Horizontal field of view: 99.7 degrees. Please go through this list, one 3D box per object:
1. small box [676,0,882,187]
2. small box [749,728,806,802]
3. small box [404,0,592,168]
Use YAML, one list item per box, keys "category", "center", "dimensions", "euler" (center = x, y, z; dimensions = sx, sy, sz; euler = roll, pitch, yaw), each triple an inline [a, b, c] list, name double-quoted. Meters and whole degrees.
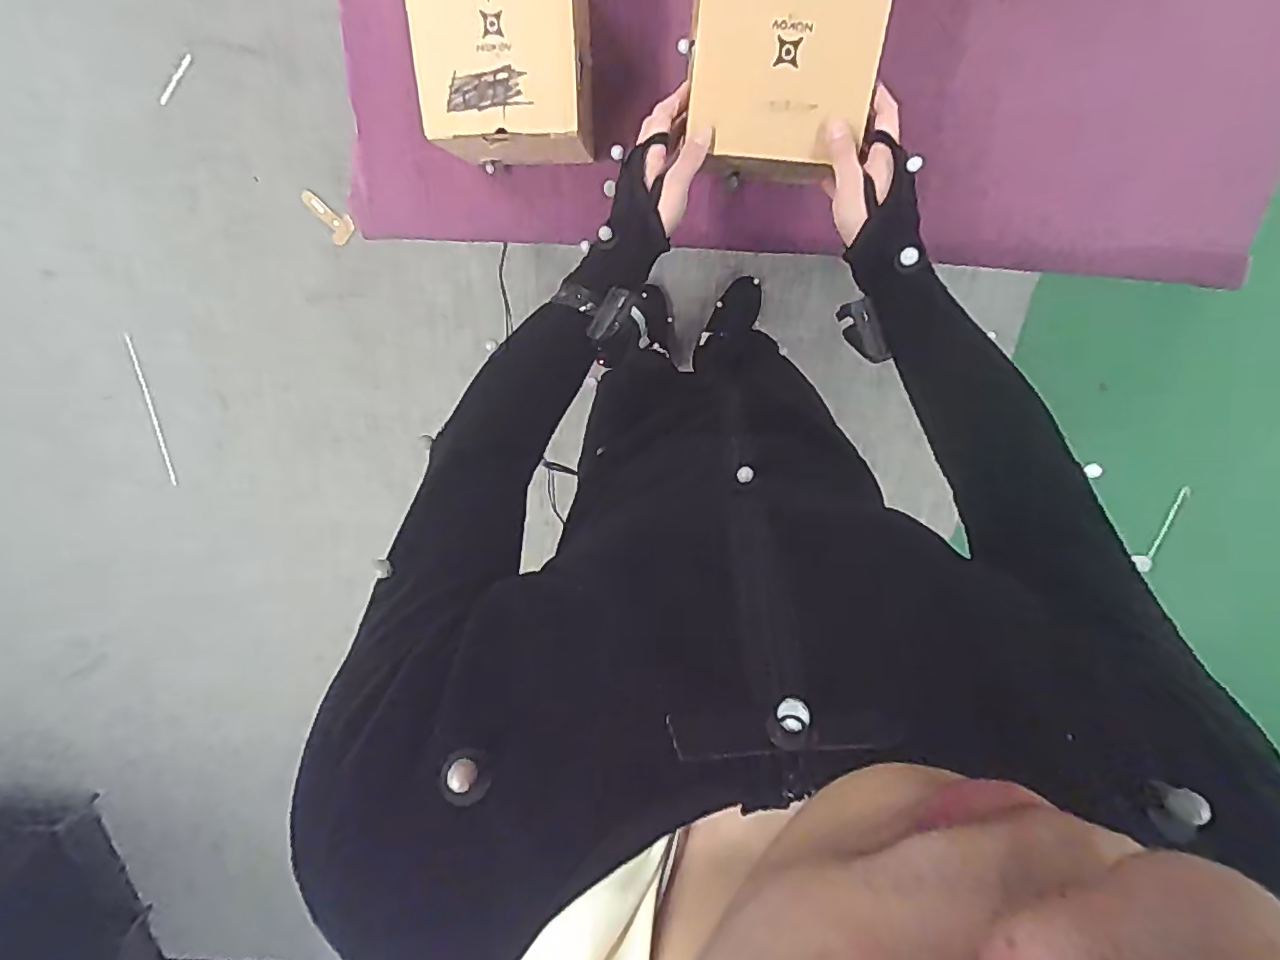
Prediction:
- category: "small box"
  center: [0.128, -0.415, 0.556]
  dimensions: [0.168, 0.176, 0.179]
  euler: [6, 114, 1]
- category: "small box"
  center: [0.511, 1.071, 2.036]
  dimensions: [0.168, 0.176, 0.179]
  euler: [5, 114, 0]
- category: "small box"
  center: [-0.148, -0.468, 0.622]
  dimensions: [0.168, 0.176, 0.179]
  euler: [0, 111, 3]
